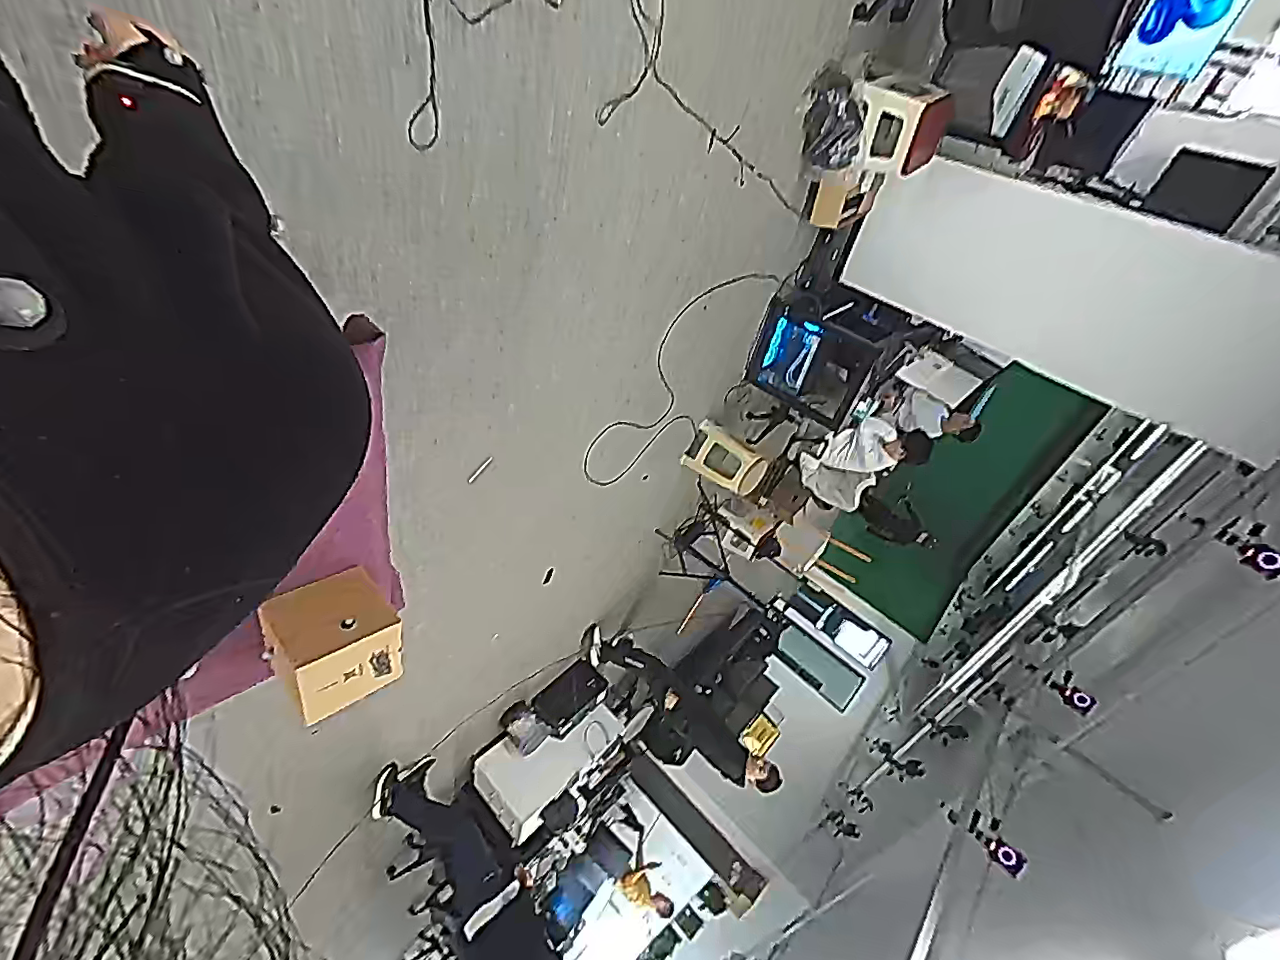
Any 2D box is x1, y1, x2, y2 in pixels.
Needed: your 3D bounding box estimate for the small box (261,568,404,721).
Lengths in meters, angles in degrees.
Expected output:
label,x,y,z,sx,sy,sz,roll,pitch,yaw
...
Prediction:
label,x,y,z,sx,sy,sz,roll,pitch,yaw
small box,-0.559,0.291,0.996,0.179,0.176,0.168,-23,140,-44
